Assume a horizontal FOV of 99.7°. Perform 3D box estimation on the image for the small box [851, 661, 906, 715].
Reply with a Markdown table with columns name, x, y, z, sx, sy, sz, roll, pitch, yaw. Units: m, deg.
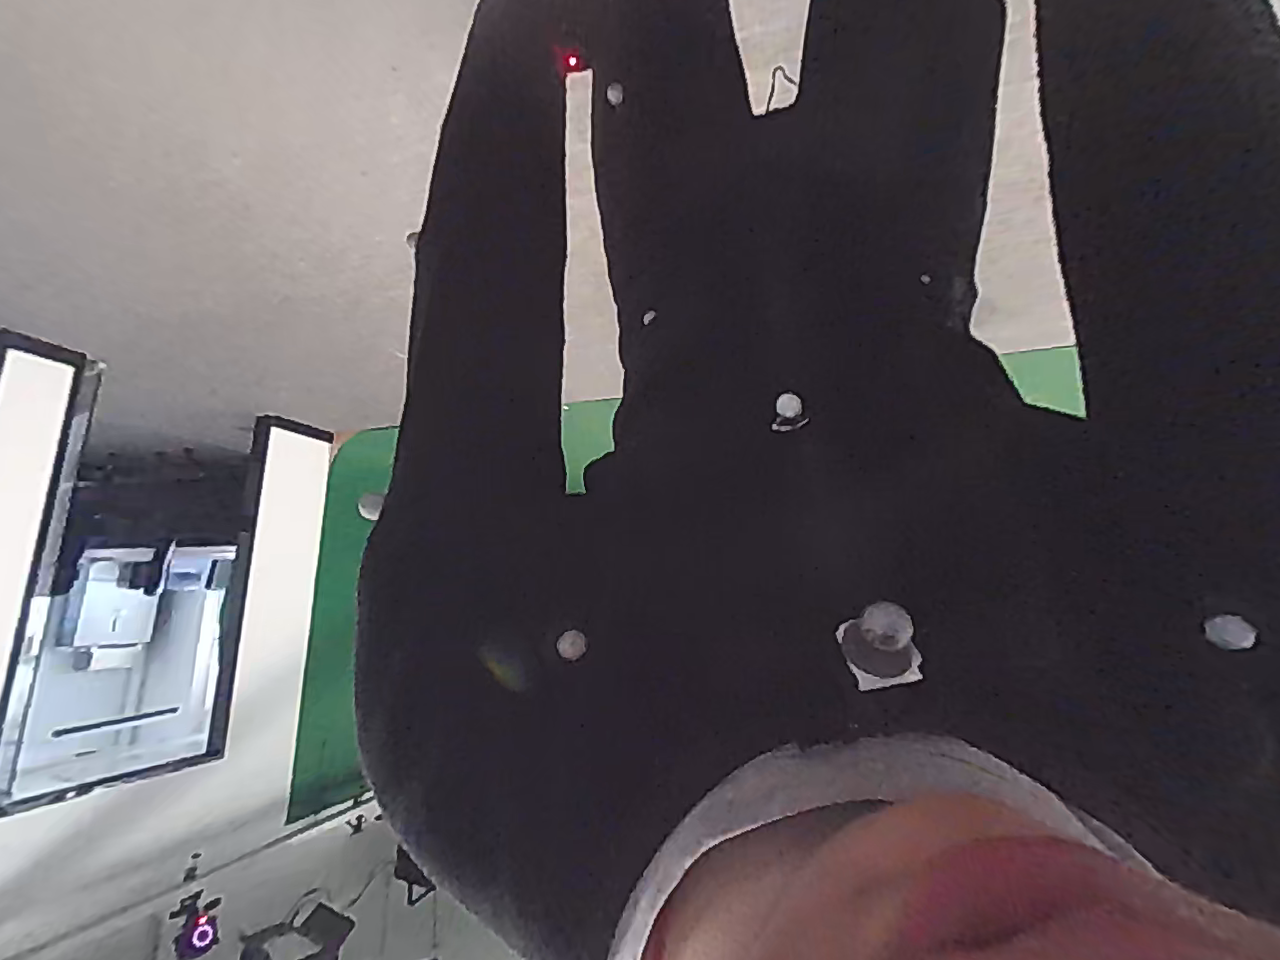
| name | x | y | z | sx | sy | sz | roll | pitch | yaw |
| --- | --- | --- | --- | --- | --- | --- | --- | --- | --- |
| small box | 0.881 | 0.770 | 2.013 | 0.168 | 0.176 | 0.179 | -5 | 167 | 19 |
